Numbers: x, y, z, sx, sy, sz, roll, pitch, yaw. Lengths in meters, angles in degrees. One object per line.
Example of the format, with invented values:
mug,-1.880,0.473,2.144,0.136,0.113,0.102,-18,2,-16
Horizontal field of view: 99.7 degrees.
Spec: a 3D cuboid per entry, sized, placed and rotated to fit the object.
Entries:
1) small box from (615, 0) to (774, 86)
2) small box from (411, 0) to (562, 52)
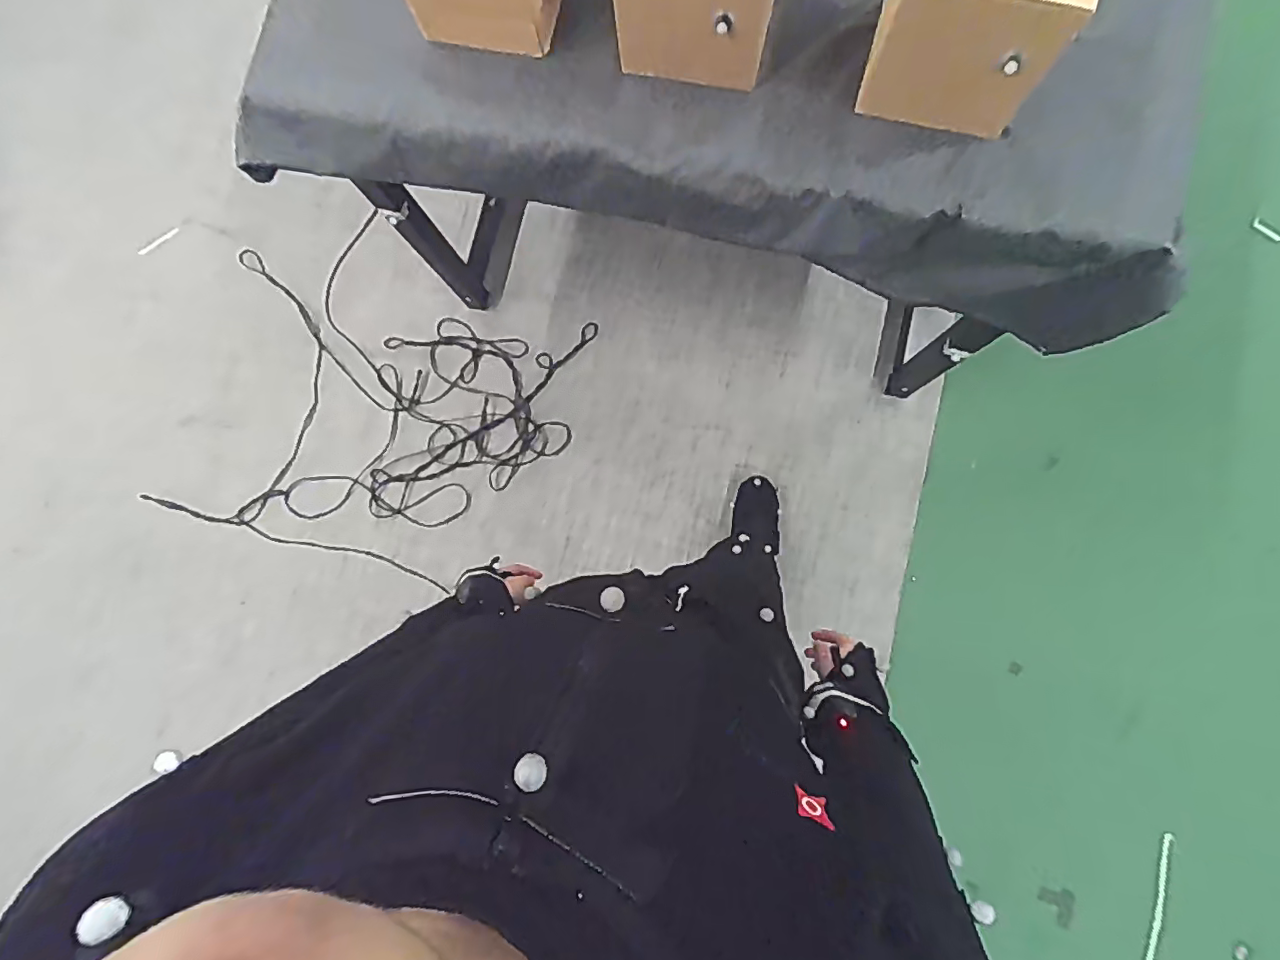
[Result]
small box,0.073,-0.603,0.628,0.179,0.176,0.168,13,83,7
small box,-0.198,-0.670,0.658,0.179,0.176,0.168,12,84,5
